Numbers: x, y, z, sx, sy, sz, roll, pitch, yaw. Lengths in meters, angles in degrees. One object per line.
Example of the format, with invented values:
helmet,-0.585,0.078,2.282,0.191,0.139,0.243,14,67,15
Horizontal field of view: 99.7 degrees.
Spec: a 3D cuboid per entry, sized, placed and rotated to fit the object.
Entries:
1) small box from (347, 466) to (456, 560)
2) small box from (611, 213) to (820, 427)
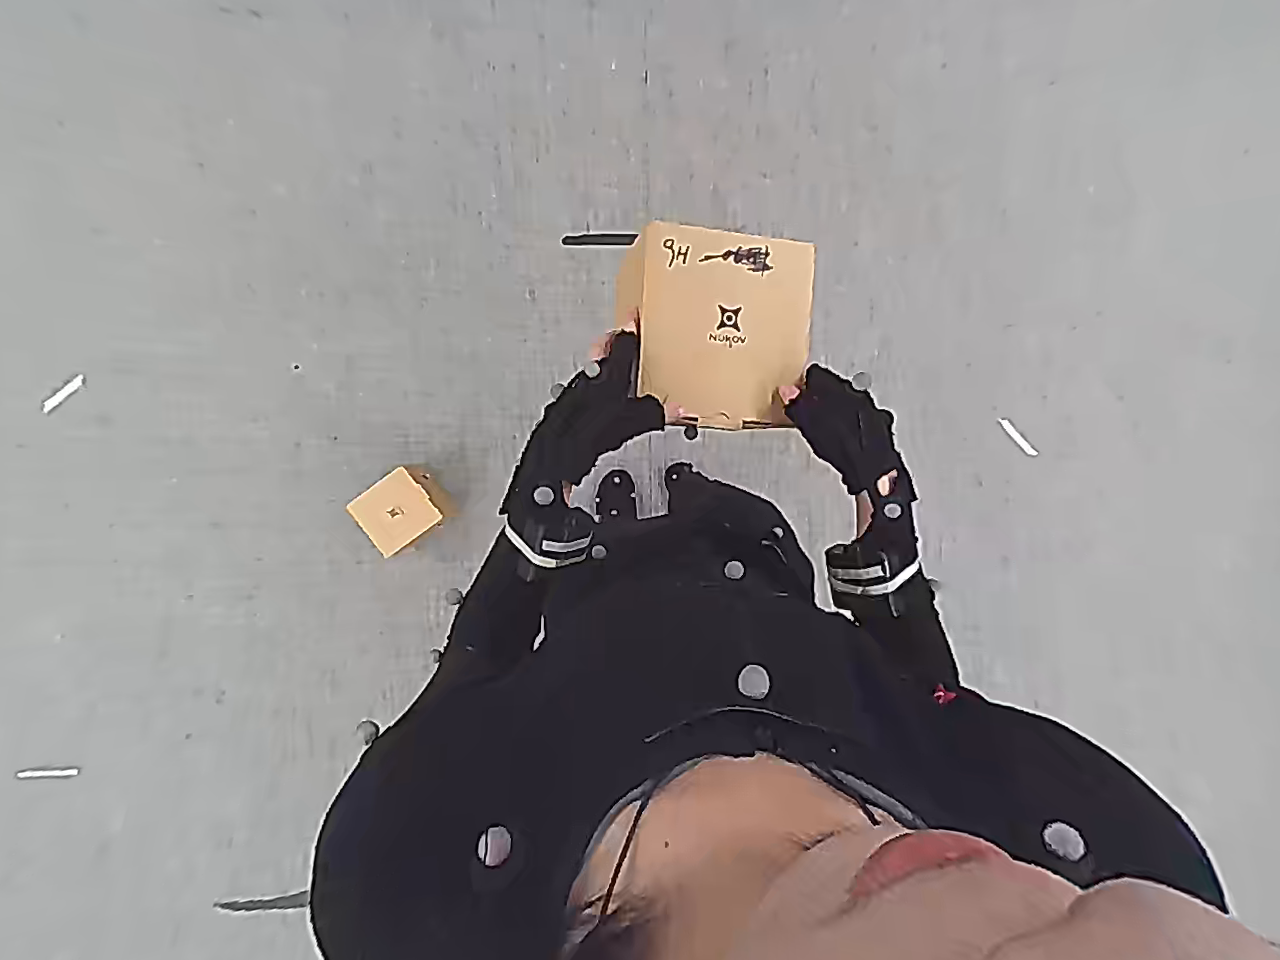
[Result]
small box,-0.598,0.076,1.390,0.179,0.176,0.168,-37,93,-1
small box,0.065,-0.148,0.566,0.168,0.176,0.179,3,94,-12
